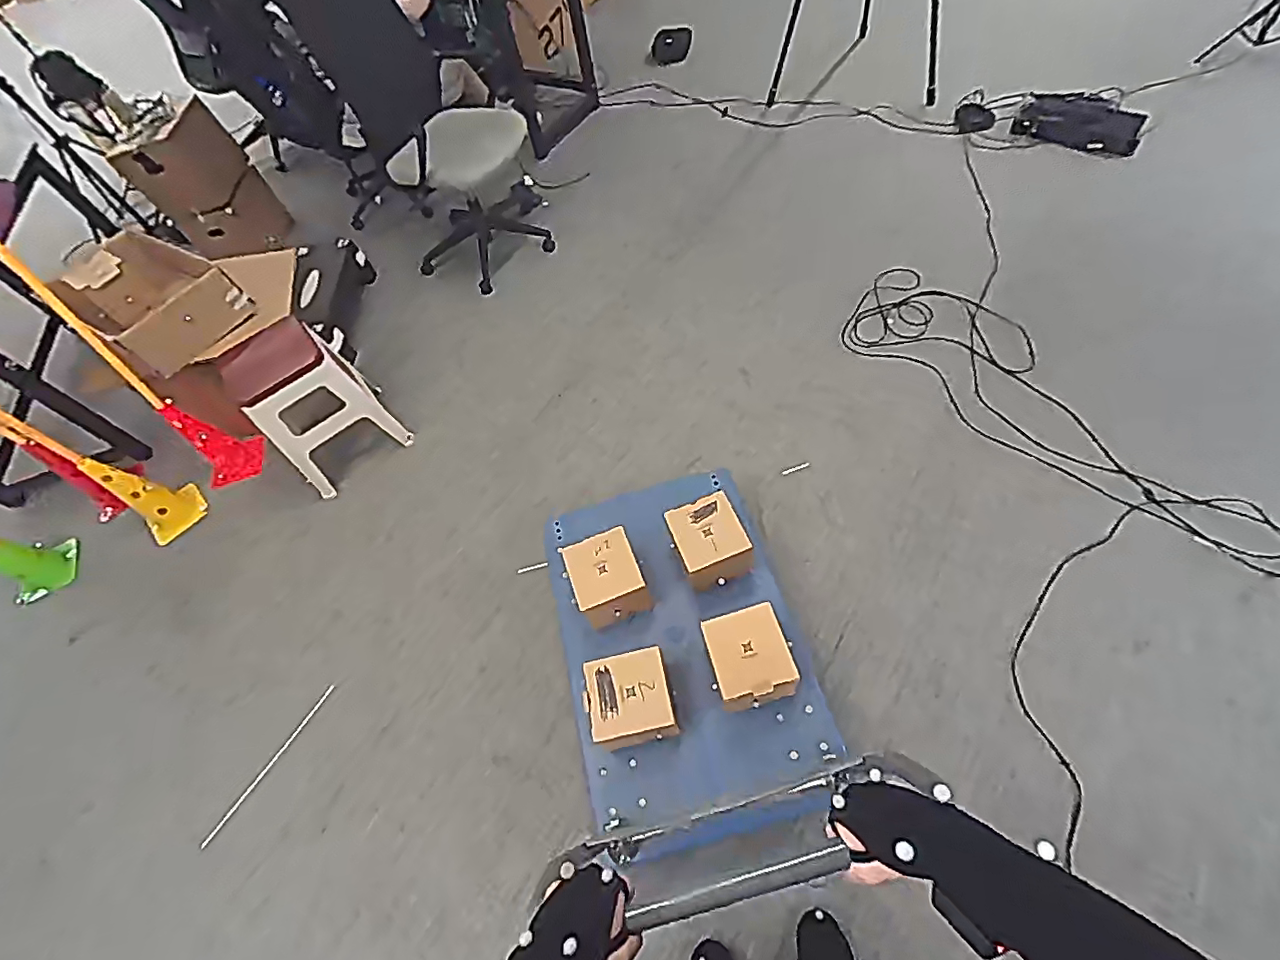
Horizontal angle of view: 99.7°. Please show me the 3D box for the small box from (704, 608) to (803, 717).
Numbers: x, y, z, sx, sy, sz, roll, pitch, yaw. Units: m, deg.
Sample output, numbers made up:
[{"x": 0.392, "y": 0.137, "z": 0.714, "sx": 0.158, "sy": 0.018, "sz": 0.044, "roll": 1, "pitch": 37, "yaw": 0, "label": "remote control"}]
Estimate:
[{"x": 0.248, "y": 0.417, "z": 1.225, "sx": 0.168, "sy": 0.176, "sz": 0.179, "roll": -17, "pitch": 58, "yaw": -1, "label": "small box"}]

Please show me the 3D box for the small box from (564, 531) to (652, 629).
[{"x": -0.076, "y": 0.262, "z": 1.372, "sx": 0.168, "sy": 0.176, "sz": 0.179, "roll": -20, "pitch": 58, "yaw": -4, "label": "small box"}]

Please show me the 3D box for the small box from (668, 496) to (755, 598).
[{"x": 0.180, "y": 0.175, "z": 1.384, "sx": 0.168, "sy": 0.176, "sz": 0.179, "roll": -21, "pitch": 59, "yaw": -3, "label": "small box"}]
